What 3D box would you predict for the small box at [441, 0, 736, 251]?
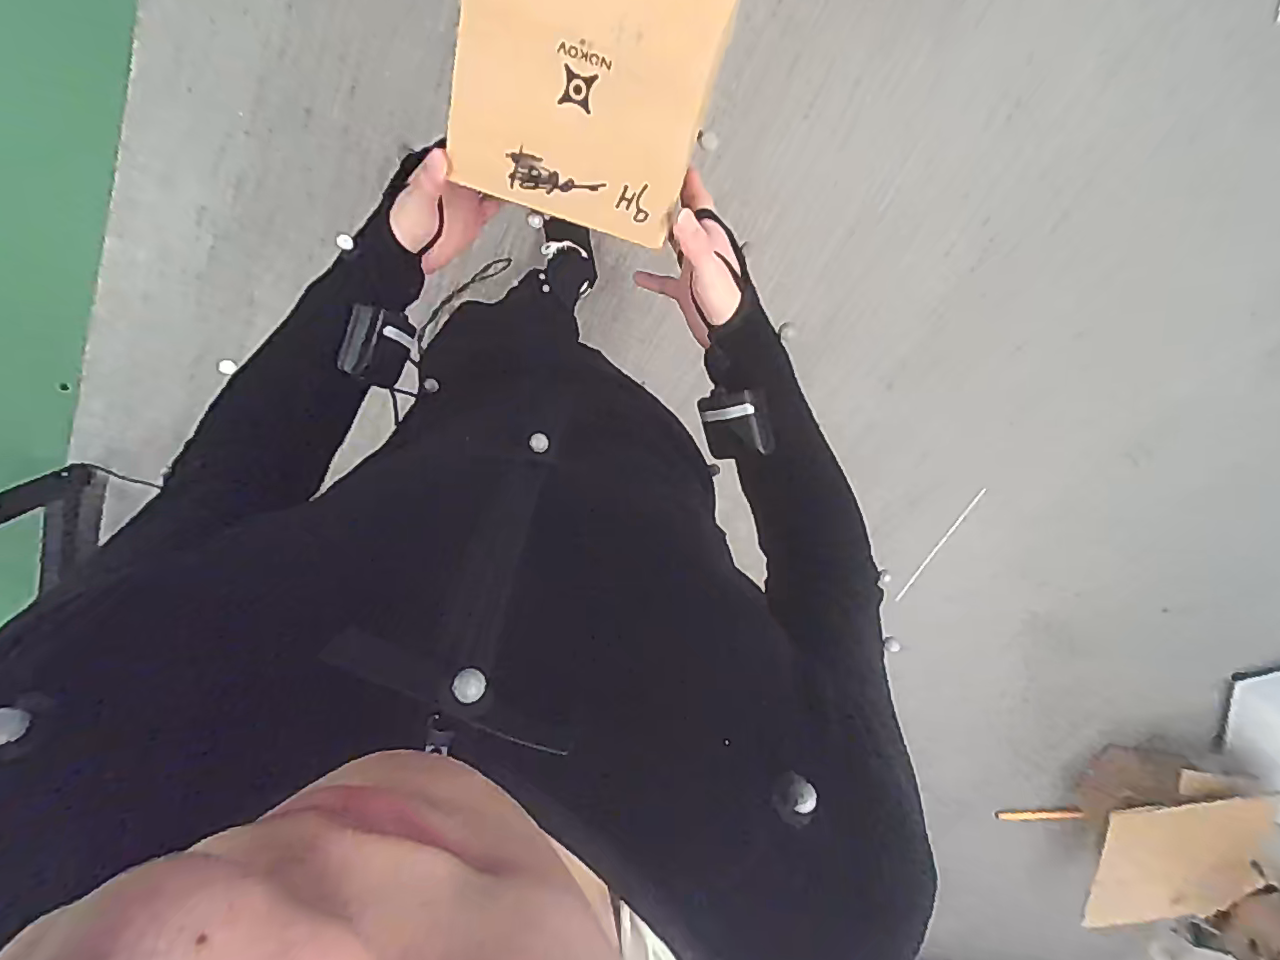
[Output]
[{"bbox_3d":[-0.035,-0.300,0.427,0.168,0.176,0.179,17,116,-4],"label":"small box"}]
